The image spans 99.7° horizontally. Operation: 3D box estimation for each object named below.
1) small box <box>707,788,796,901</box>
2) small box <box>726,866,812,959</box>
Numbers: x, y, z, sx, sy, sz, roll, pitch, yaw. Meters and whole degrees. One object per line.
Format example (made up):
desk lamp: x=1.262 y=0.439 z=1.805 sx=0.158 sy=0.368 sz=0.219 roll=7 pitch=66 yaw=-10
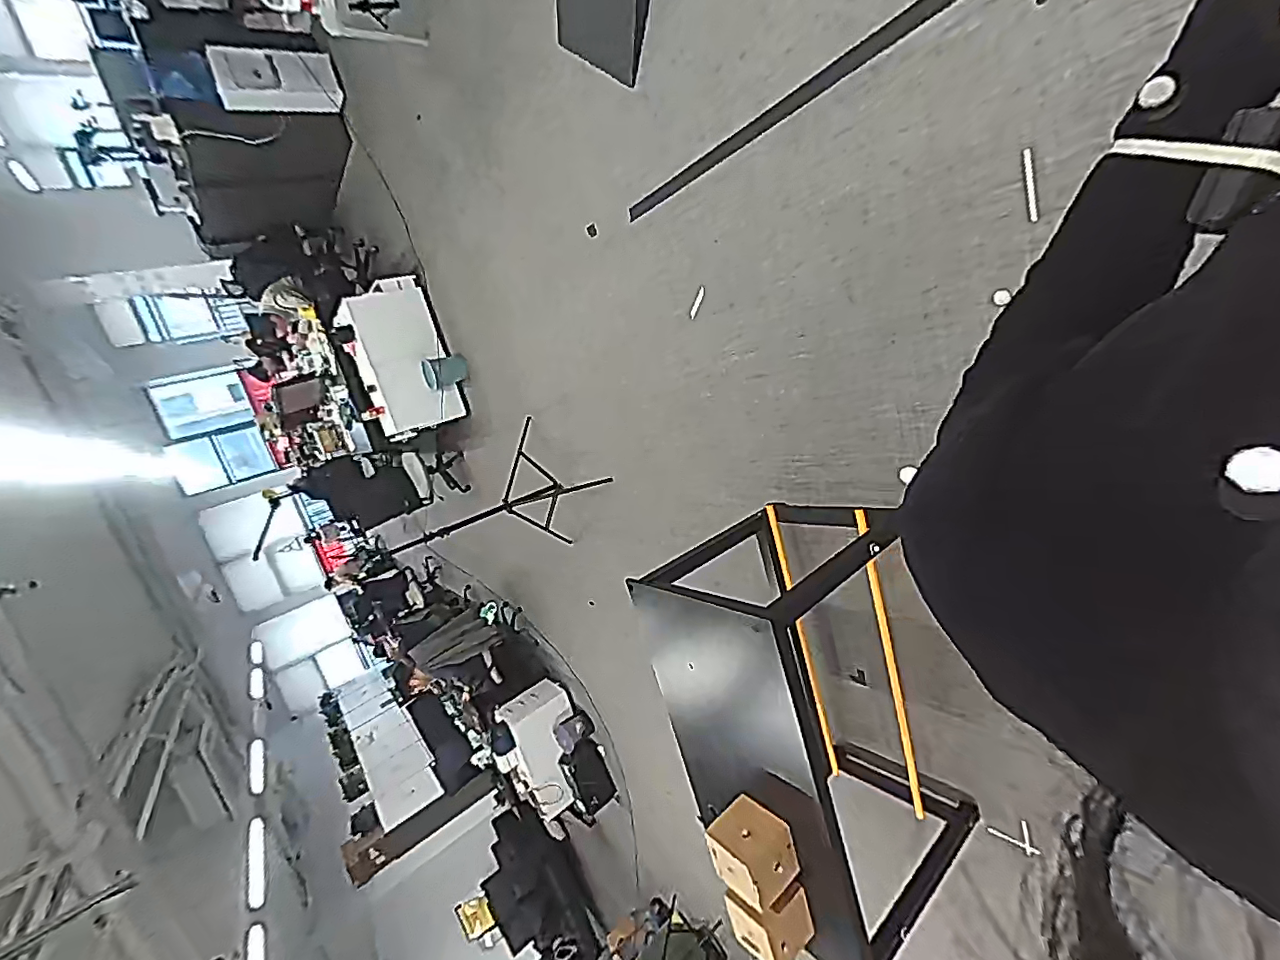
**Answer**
small box: x=0.324 y=1.024 z=1.539 sx=0.179 sy=0.176 sz=0.168 roll=3 pitch=113 yaw=54
small box: x=0.385 y=1.242 z=1.594 sx=0.168 sy=0.176 sz=0.179 roll=1 pitch=111 yaw=54
